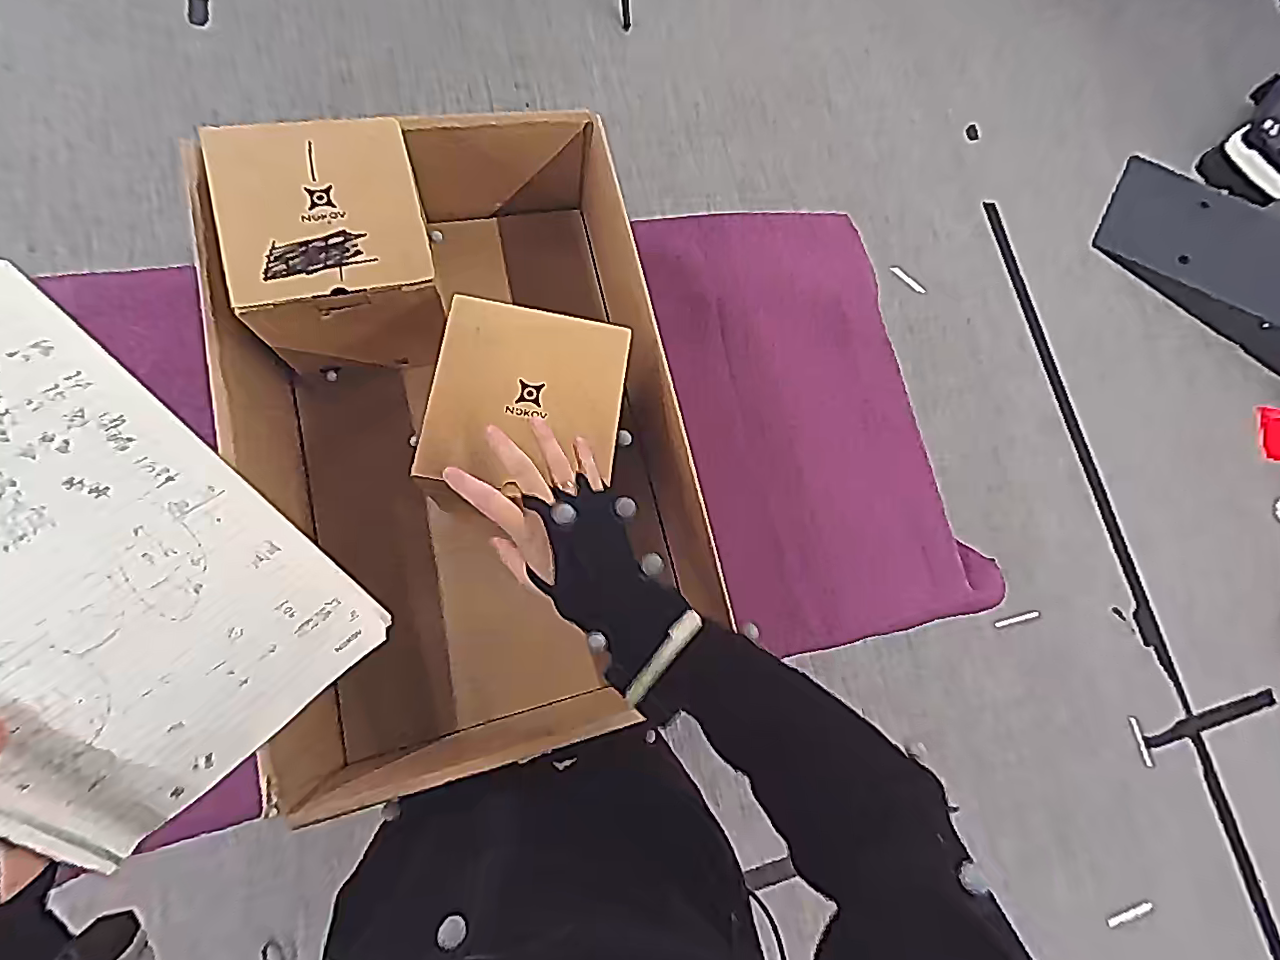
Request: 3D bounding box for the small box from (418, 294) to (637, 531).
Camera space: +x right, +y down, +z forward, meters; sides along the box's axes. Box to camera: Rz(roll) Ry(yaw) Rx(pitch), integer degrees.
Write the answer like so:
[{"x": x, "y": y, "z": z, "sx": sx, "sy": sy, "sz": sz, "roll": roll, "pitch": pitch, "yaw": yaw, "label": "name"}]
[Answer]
[{"x": -0.108, "y": -0.053, "z": 0.548, "sx": 0.168, "sy": 0.176, "sz": 0.179, "roll": 9, "pitch": 77, "yaw": -9, "label": "small box"}]
